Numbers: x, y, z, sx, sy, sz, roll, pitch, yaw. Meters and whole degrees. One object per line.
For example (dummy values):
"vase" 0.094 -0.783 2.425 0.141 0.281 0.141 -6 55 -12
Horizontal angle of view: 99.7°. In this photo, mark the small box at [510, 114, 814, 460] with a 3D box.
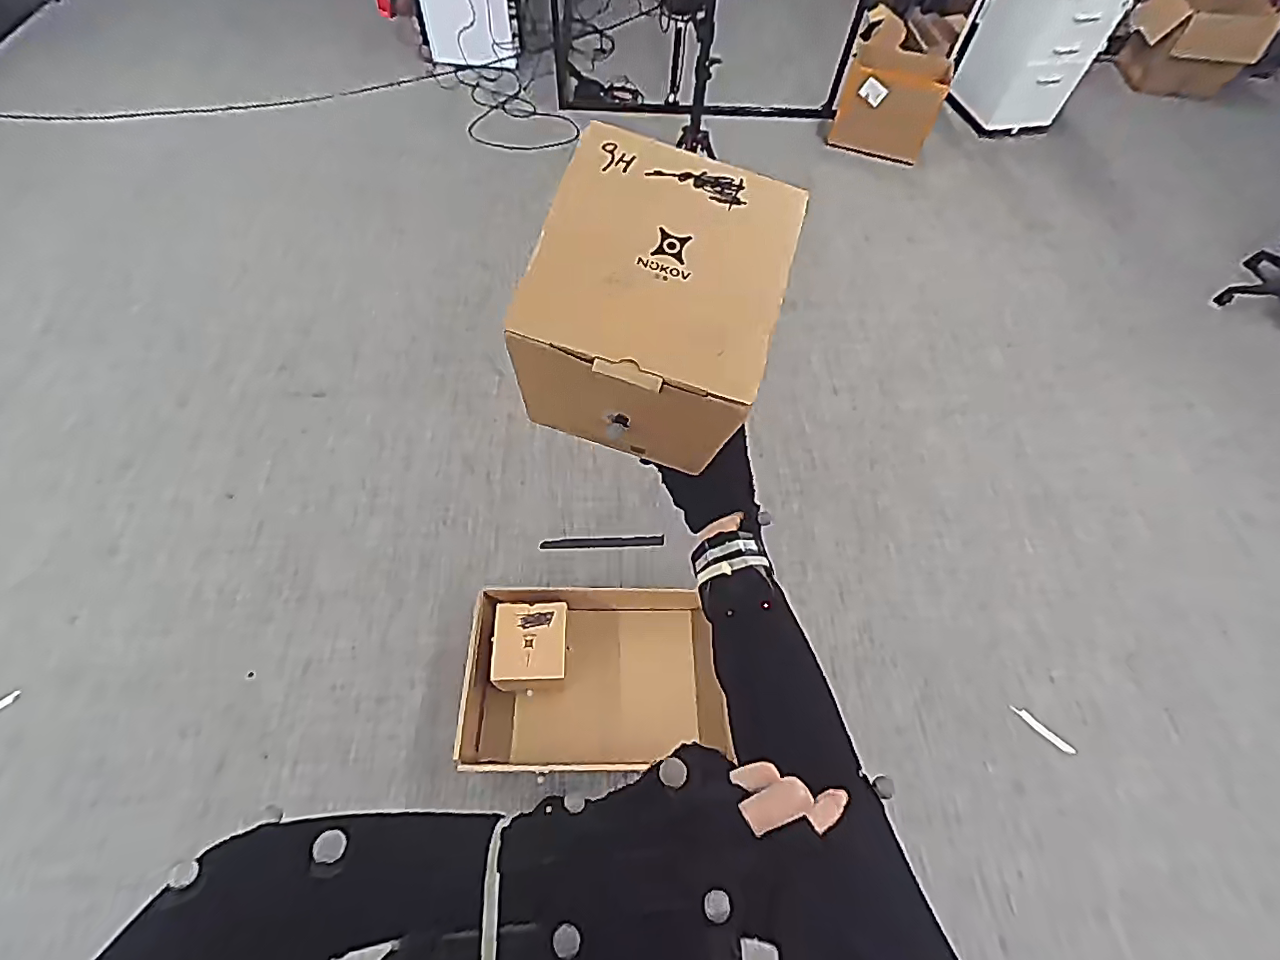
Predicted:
"small box" 0.013 -0.132 0.434 0.168 0.176 0.179 18 76 -2
